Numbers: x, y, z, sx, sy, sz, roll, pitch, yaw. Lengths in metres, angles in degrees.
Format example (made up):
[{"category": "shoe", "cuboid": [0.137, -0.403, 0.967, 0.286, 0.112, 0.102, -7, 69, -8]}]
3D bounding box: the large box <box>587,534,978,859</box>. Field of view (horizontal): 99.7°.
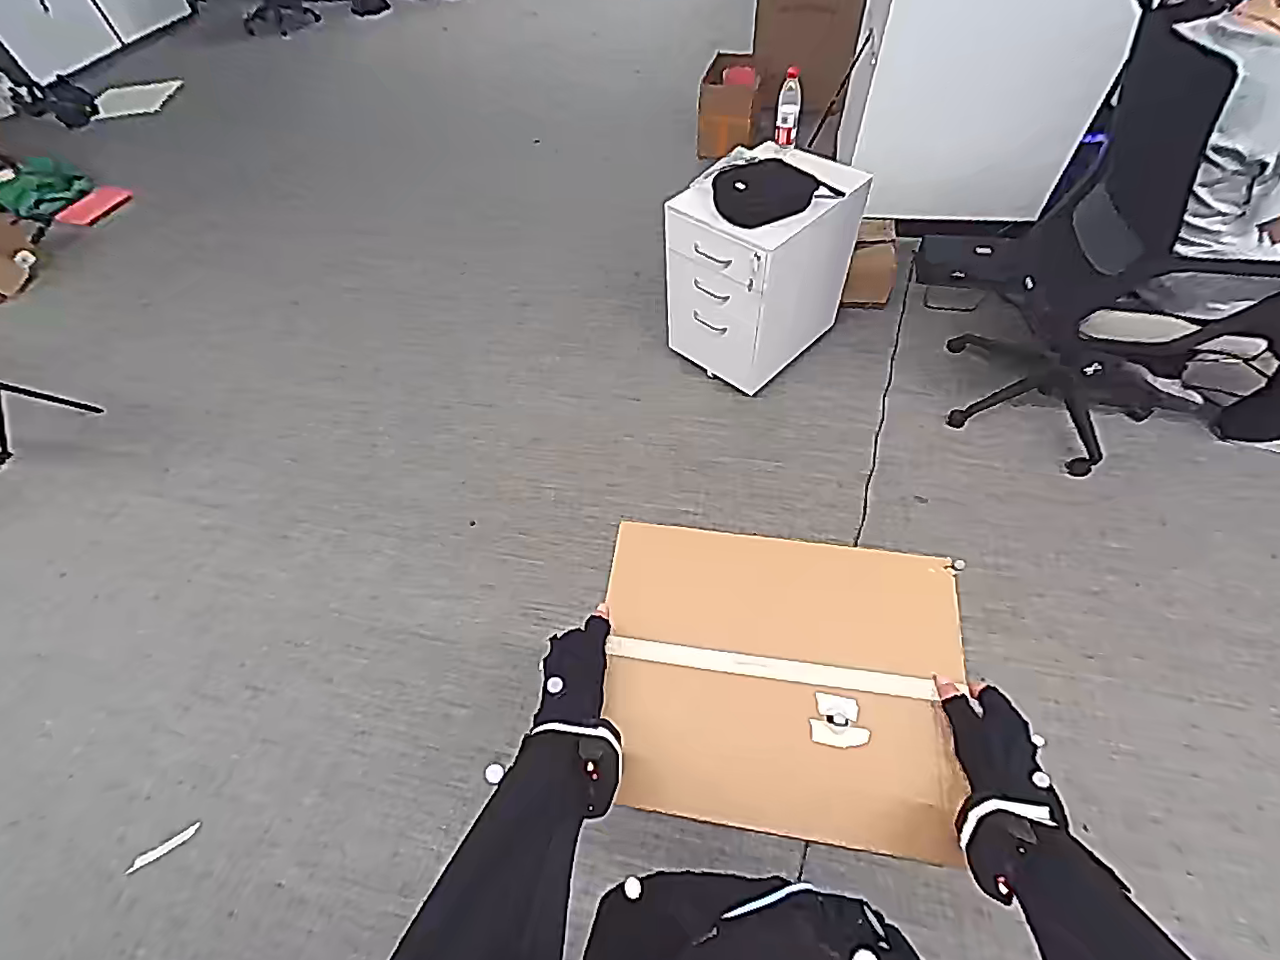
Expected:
[{"category": "large box", "cuboid": [0.164, 0.293, 0.751, 0.408, 0.320, 0.320, 6, 63, 7]}]
